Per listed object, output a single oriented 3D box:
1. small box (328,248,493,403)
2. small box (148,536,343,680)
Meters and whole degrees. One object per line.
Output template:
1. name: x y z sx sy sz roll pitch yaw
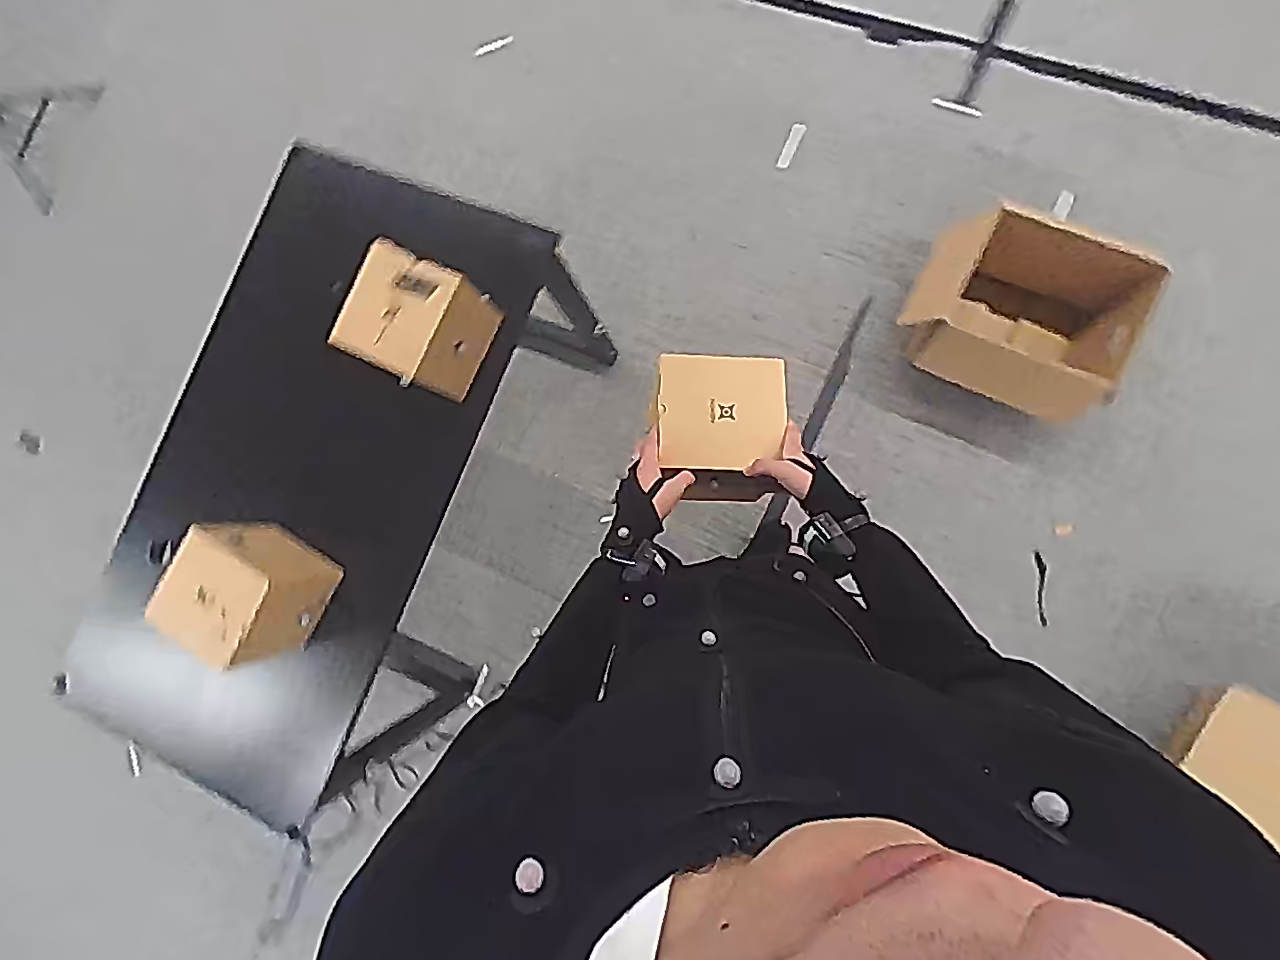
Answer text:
1. small box: -0.375 -0.252 0.920 0.168 0.176 0.179 25 91 10
2. small box: -0.664 0.208 0.929 0.179 0.176 0.168 28 91 9
